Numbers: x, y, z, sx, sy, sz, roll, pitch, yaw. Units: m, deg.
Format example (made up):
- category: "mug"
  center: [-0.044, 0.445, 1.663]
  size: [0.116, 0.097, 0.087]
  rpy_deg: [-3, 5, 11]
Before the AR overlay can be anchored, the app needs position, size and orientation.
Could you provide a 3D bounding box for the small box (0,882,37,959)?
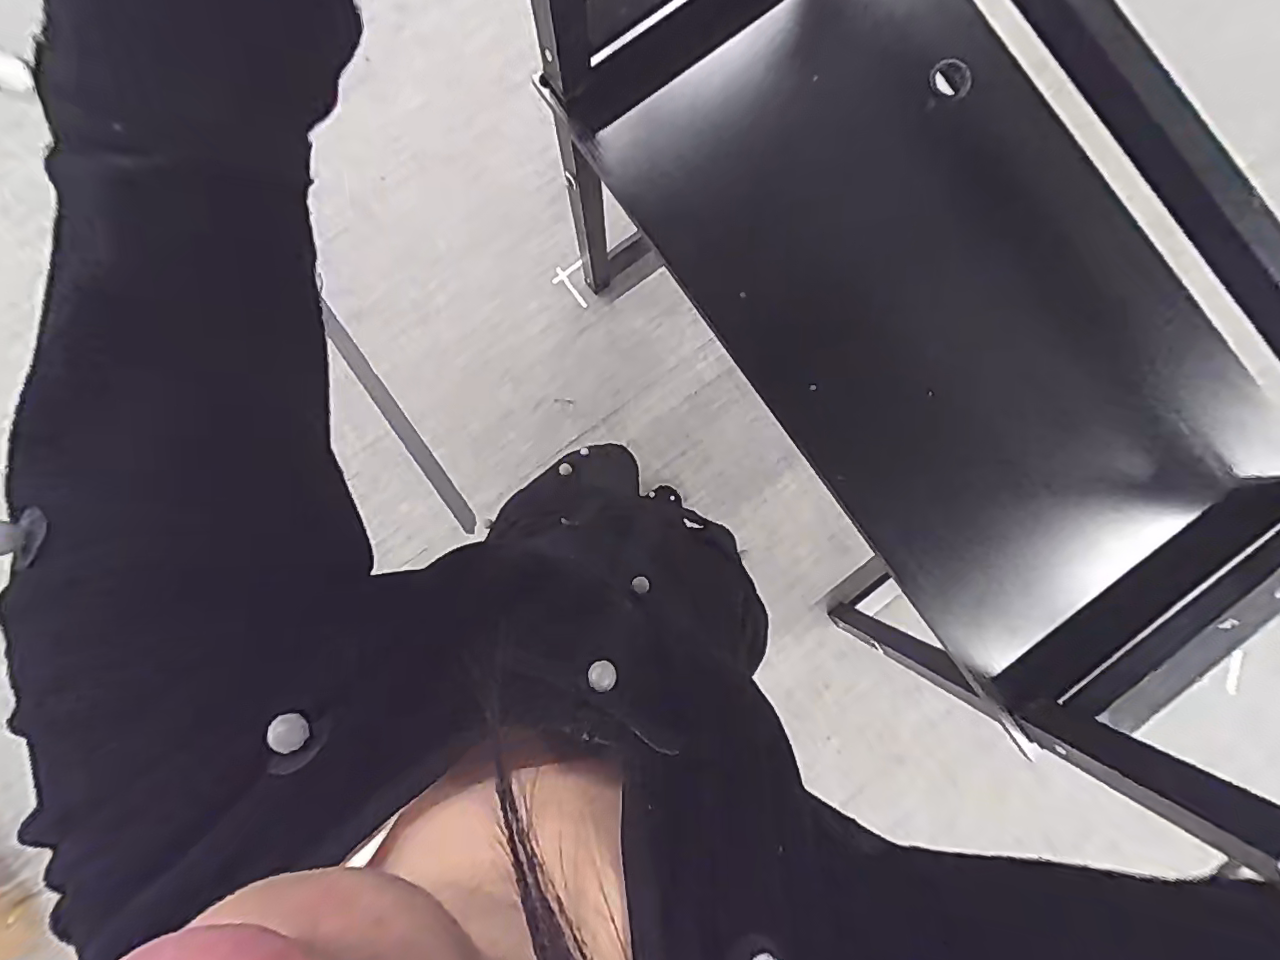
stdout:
- category: "small box"
  center: [-1.670, 1.150, 1.321]
  size: [0.179, 0.176, 0.168]
  rpy_deg: [-33, 90, -3]
